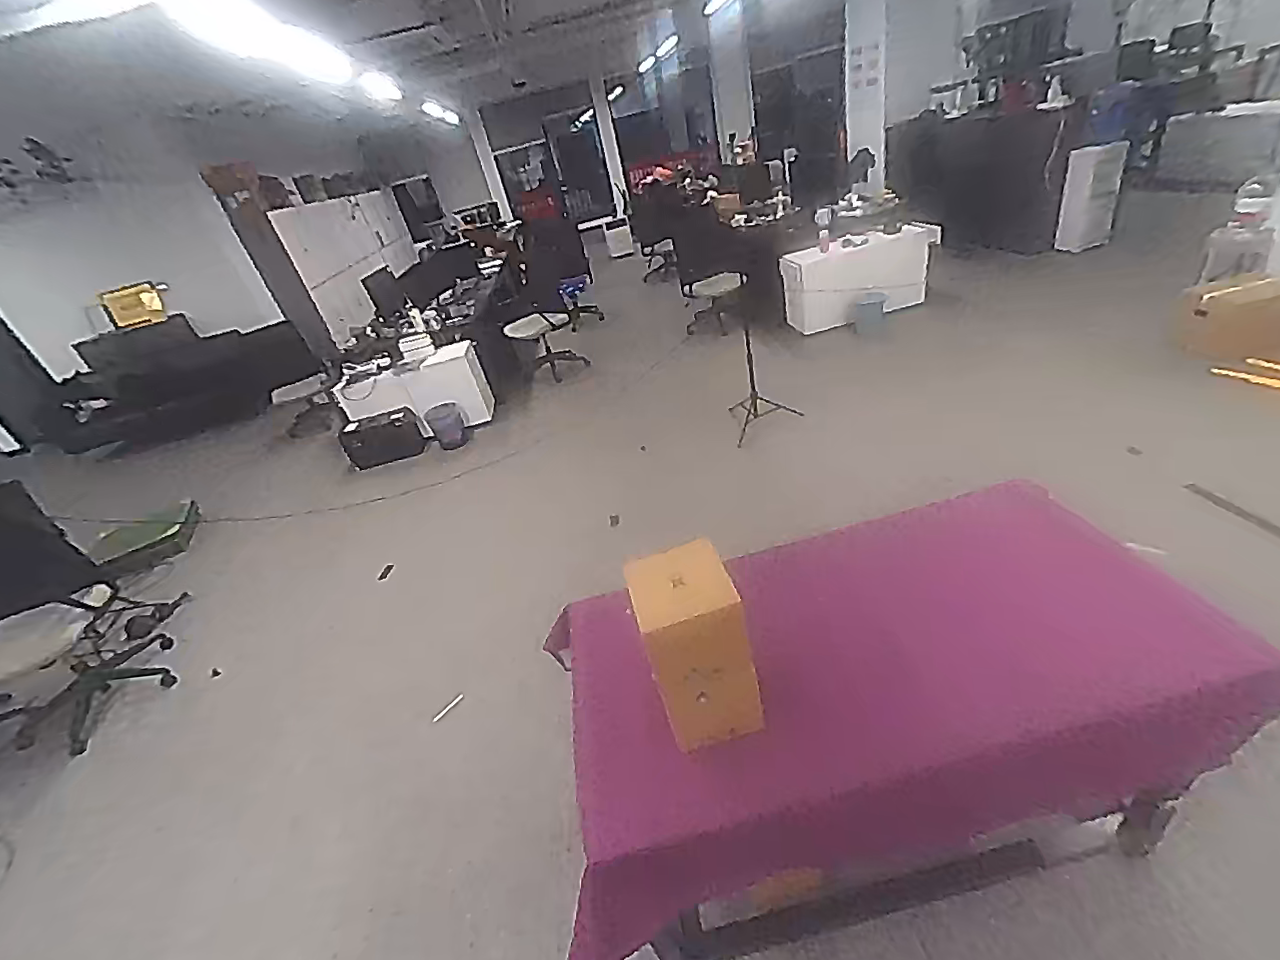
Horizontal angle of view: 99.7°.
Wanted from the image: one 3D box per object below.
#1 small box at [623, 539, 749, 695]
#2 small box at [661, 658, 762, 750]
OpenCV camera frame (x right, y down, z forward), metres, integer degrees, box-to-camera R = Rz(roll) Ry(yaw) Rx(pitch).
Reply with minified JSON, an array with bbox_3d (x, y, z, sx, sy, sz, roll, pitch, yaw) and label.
[{"bbox_3d":[0.078,0.236,0.942,0.168,0.176,0.179,-17,32,-3],"label":"small box"},{"bbox_3d":[0.120,0.370,1.026,0.168,0.176,0.179,-16,31,-2],"label":"small box"}]
